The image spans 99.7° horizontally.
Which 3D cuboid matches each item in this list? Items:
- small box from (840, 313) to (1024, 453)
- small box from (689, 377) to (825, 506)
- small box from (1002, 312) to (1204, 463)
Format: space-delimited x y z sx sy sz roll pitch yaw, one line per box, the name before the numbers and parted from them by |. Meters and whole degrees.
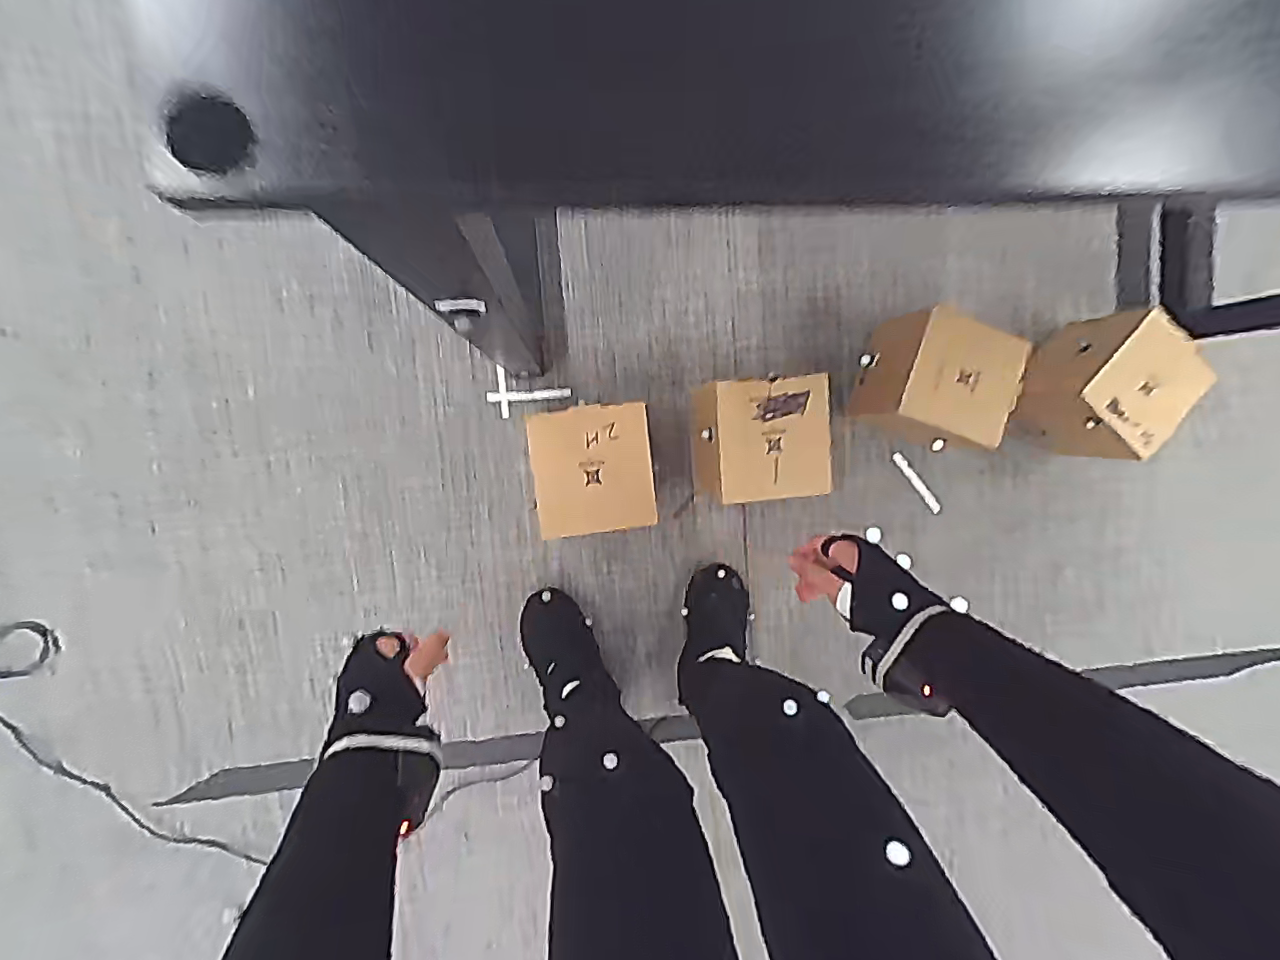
small box | 0.463 -0.150 0.882 0.179 0.176 0.168 17 92 -7
small box | 0.176 -0.063 0.853 0.168 0.176 0.179 -5 97 -6
small box | 0.764 -0.149 0.916 0.168 0.176 0.179 39 90 -8
